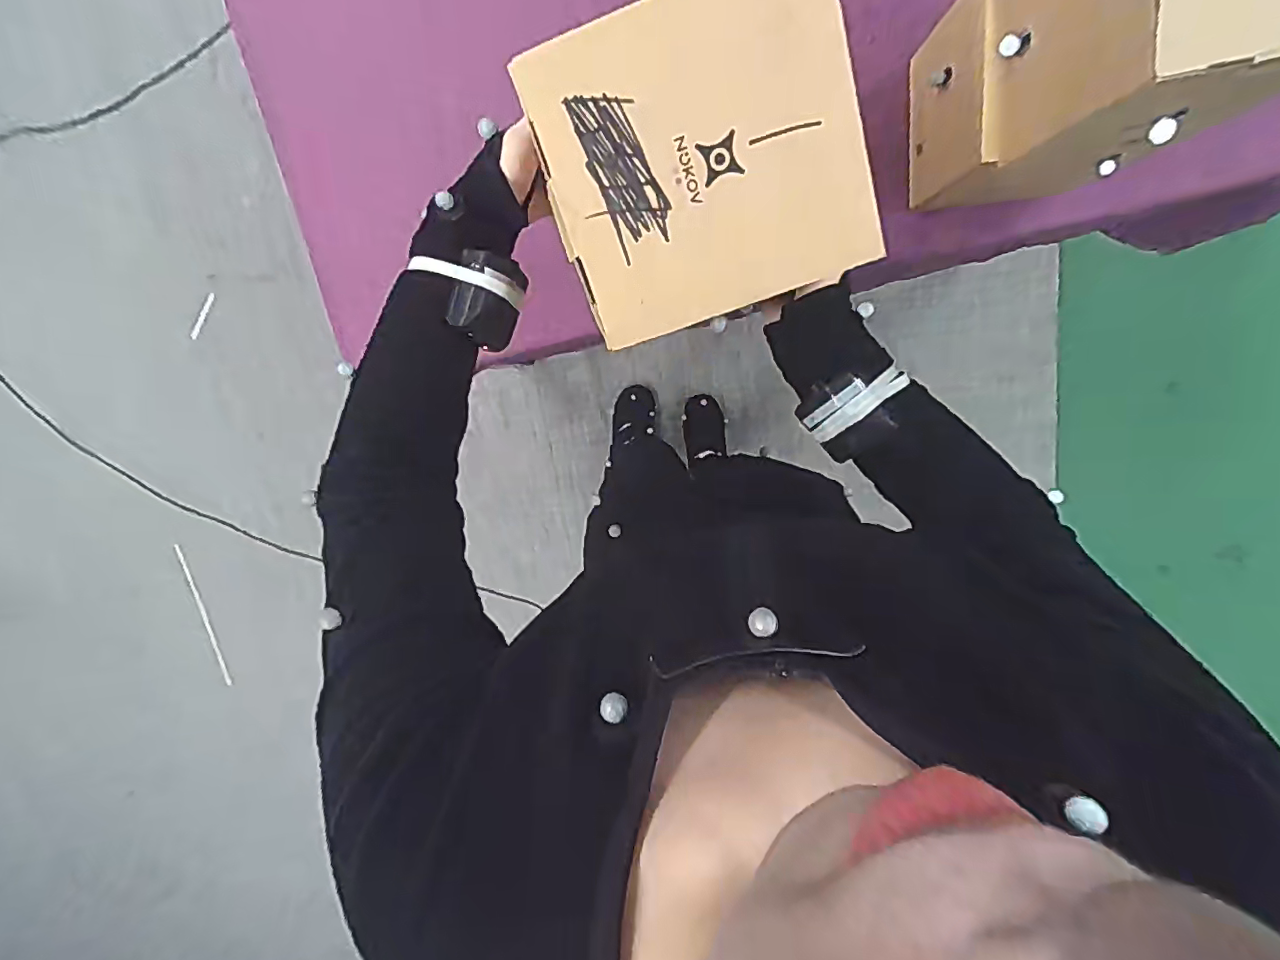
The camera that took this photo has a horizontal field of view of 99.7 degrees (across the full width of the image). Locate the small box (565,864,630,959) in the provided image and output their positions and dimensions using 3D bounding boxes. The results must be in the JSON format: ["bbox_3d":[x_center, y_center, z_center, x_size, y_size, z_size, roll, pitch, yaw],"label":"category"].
[{"bbox_3d":[-0.130,1.367,1.719,0.179,0.176,0.168,8,102,3],"label":"small box"}]

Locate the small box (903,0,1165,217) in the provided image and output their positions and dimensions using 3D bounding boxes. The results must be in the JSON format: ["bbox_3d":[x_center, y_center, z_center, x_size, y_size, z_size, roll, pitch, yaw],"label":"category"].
[{"bbox_3d":[0.393,-0.389,0.563,0.179,0.176,0.168,-5,101,4],"label":"small box"}]

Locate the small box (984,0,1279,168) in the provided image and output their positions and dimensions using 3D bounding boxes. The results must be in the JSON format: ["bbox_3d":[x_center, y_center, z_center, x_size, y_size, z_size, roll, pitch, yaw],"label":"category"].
[{"bbox_3d":[0.386,-0.357,0.402,0.168,0.176,0.179,-9,102,5],"label":"small box"}]
